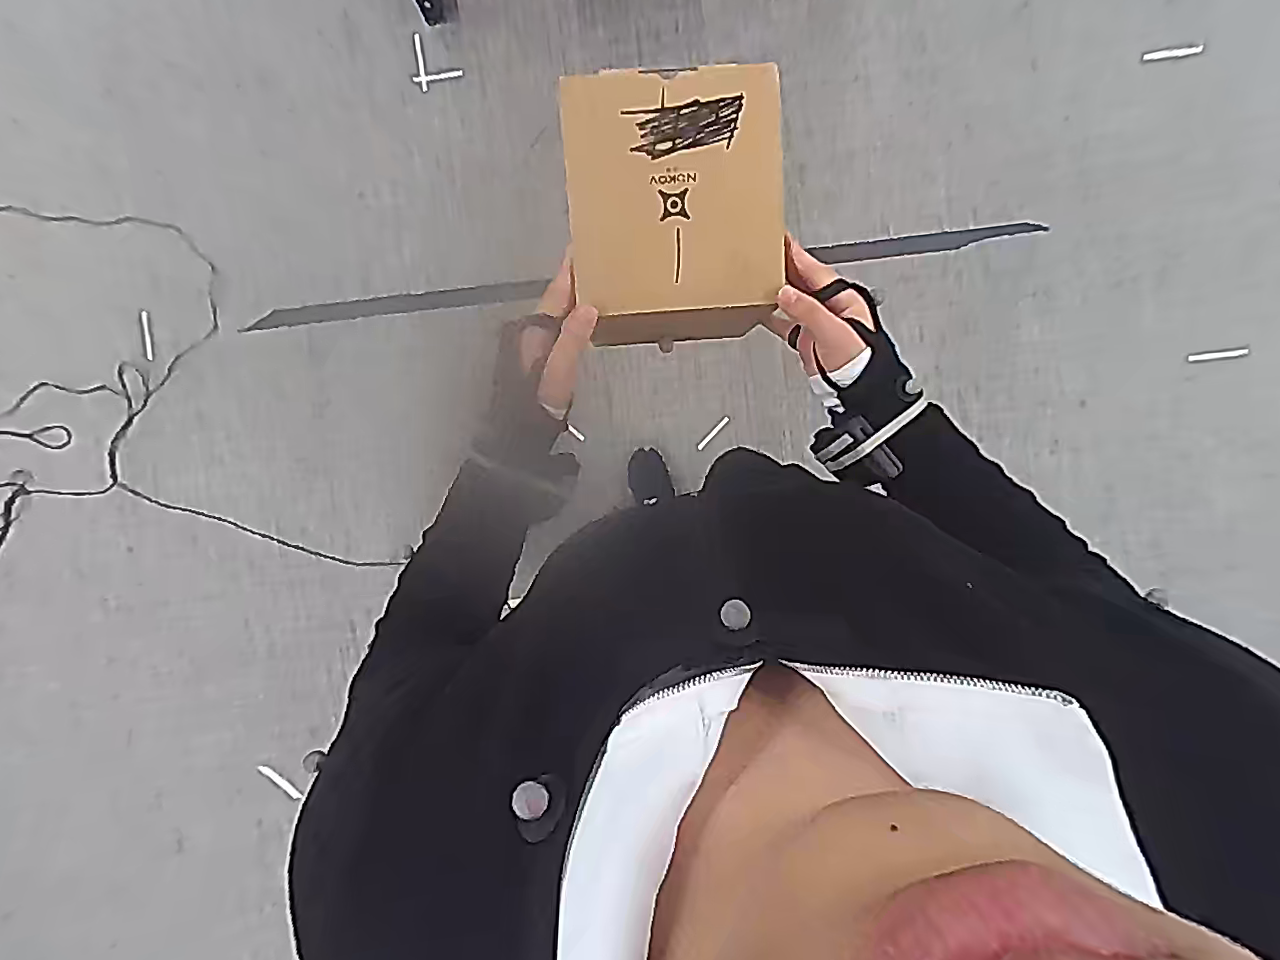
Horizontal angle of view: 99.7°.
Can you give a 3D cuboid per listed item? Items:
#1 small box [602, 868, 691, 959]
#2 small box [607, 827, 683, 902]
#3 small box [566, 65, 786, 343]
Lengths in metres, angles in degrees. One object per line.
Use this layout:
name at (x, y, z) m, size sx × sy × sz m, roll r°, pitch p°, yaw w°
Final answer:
small box at (0.020, 1.007, 1.187) m, size 0.168 × 0.176 × 0.179 m, roll -12°, pitch 92°, yaw 1°
small box at (0.014, 1.001, 1.351) m, size 0.168 × 0.176 × 0.179 m, roll -9°, pitch 92°, yaw 2°
small box at (0.027, -0.230, 0.493) m, size 0.168 × 0.176 × 0.179 m, roll -4°, pitch 96°, yaw 0°
